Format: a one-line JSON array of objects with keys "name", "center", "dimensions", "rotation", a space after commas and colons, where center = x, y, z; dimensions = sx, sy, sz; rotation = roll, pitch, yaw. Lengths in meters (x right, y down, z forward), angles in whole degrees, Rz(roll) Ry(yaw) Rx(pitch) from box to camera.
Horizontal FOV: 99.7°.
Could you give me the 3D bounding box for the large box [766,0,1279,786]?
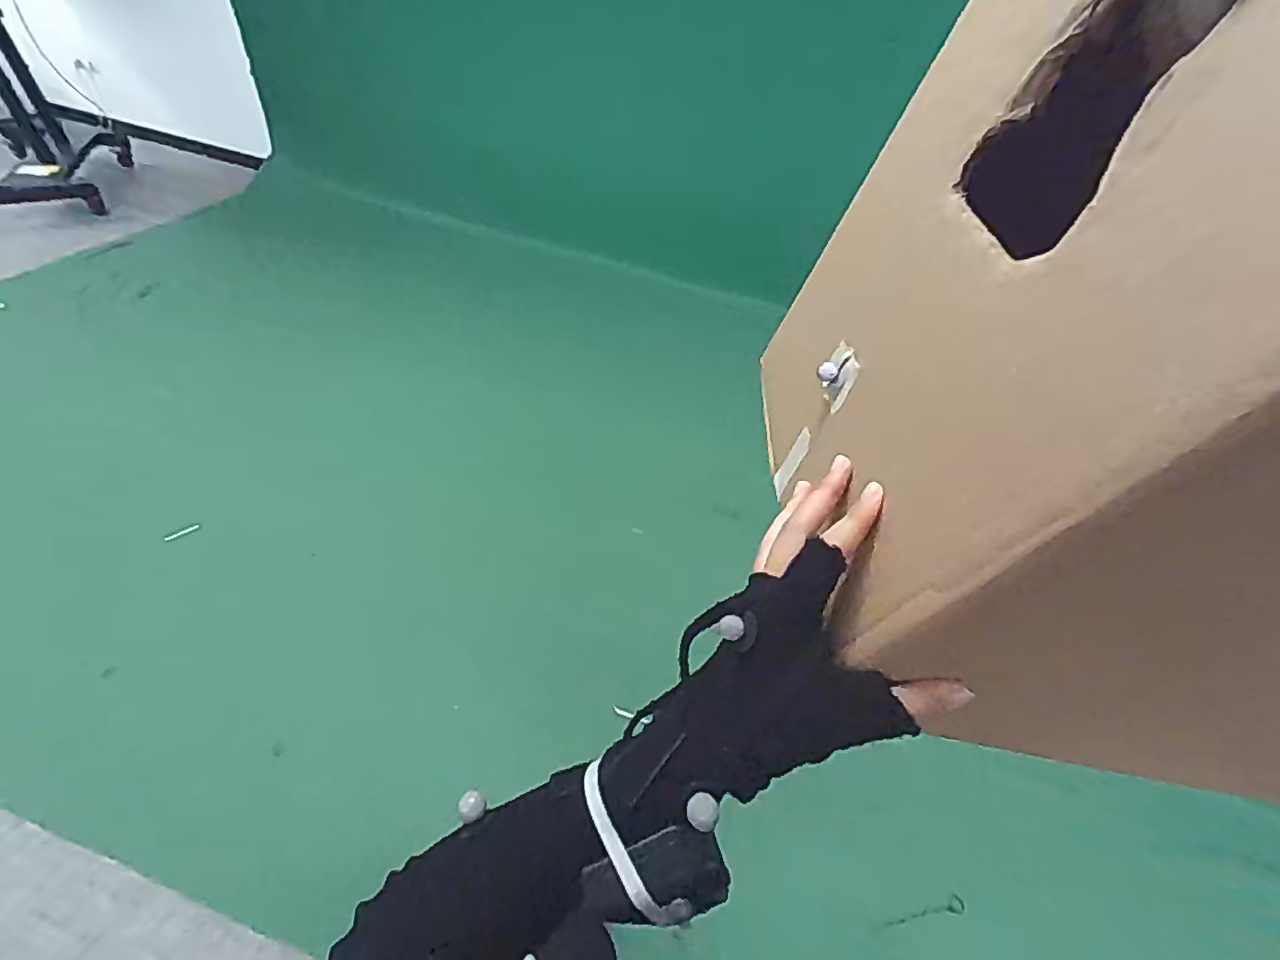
[{"name": "large box", "center": [0.337, -0.036, 0.324], "dimensions": [0.408, 0.320, 0.320], "rotation": [15, 48, -11]}]
